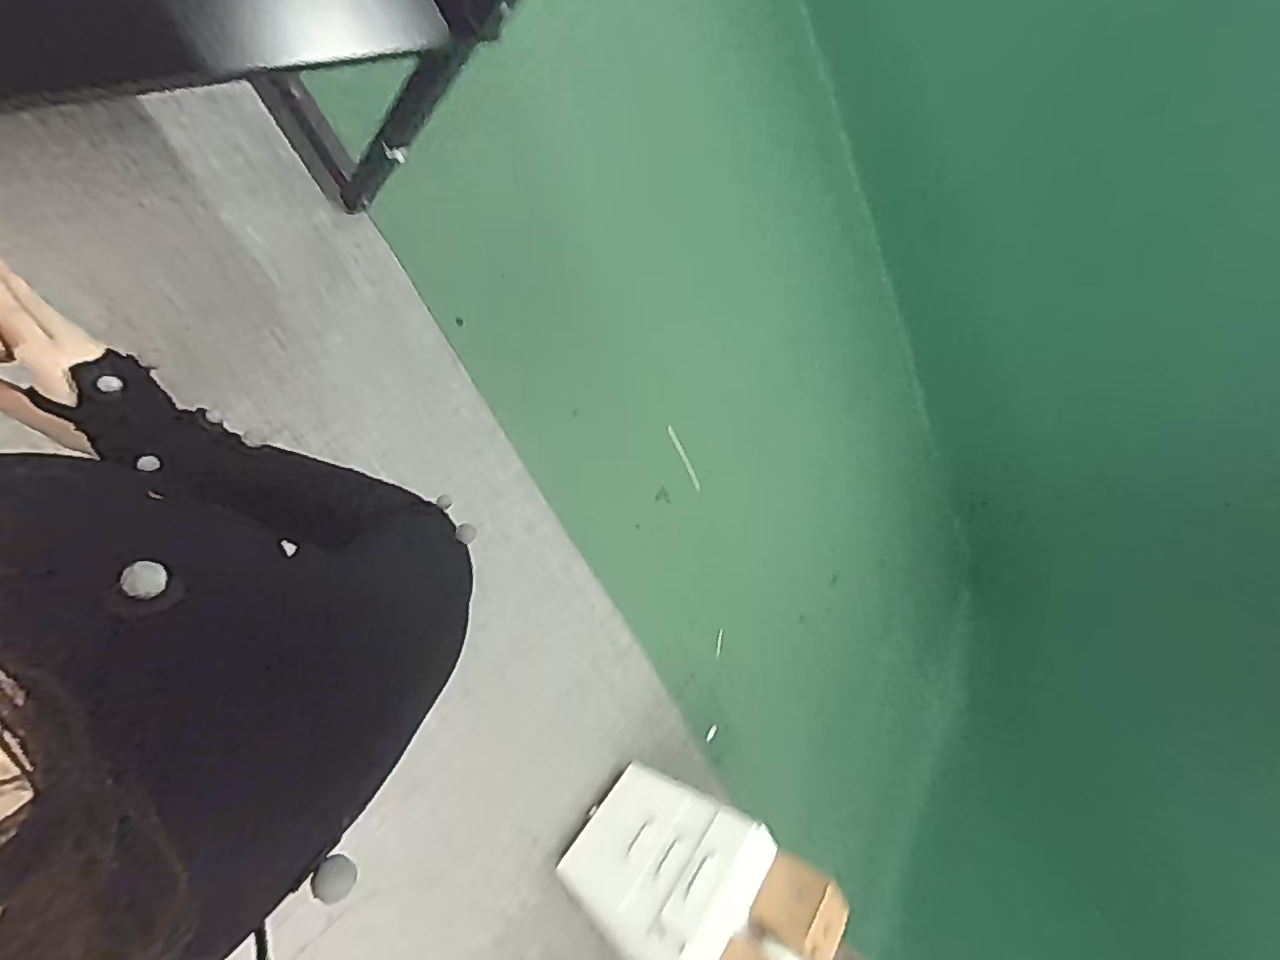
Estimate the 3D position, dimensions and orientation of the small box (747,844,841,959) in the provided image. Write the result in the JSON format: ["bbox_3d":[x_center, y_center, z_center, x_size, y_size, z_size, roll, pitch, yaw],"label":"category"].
[{"bbox_3d":[0.423,1.157,1.491,0.179,0.176,0.168,-44,115,-36],"label":"small box"}]
